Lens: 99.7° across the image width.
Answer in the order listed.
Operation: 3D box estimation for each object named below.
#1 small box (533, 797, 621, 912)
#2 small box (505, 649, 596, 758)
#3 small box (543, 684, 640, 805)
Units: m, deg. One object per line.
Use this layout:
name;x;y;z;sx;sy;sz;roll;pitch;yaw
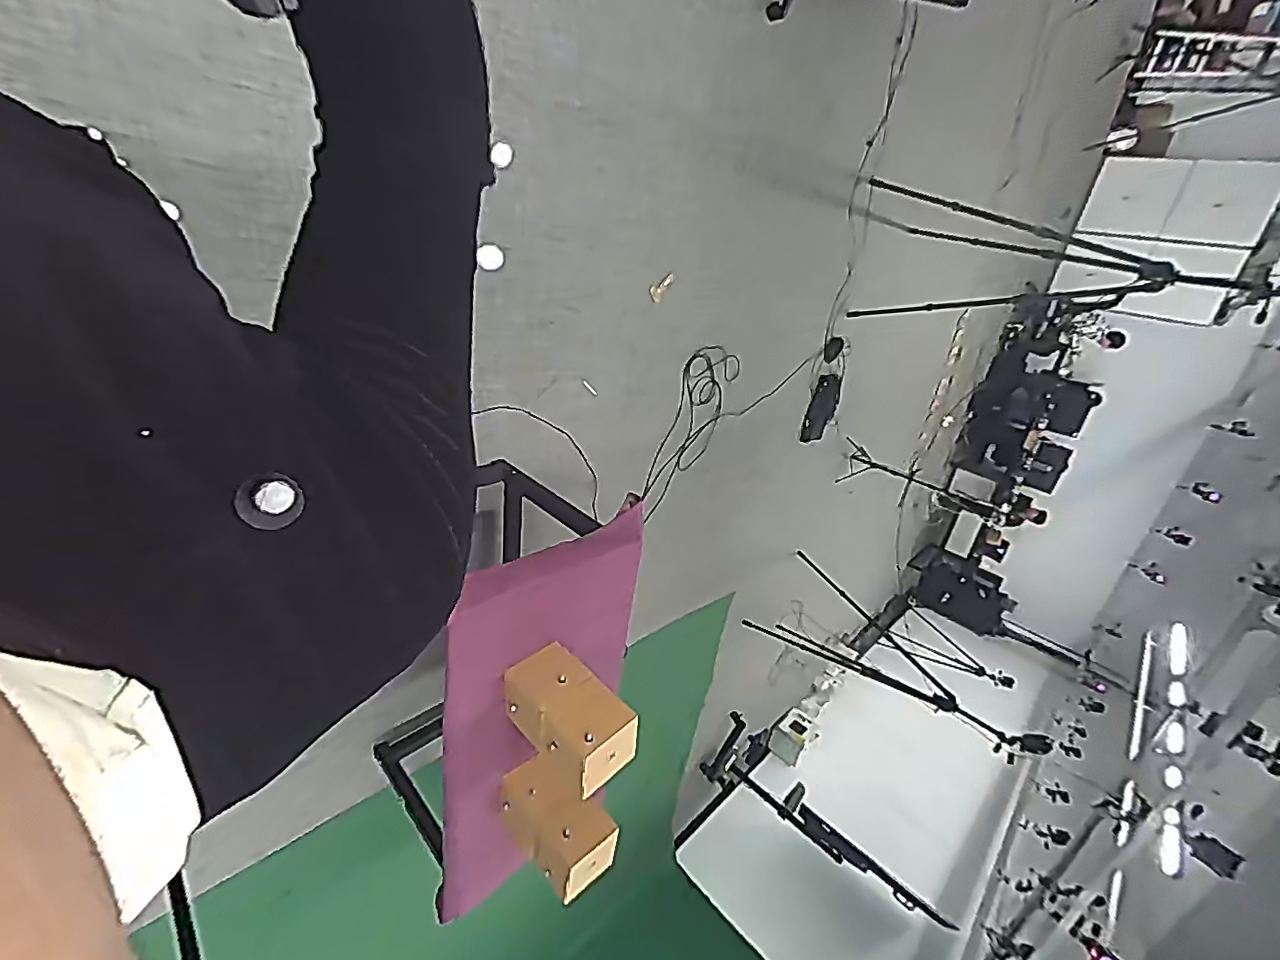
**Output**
small box;-0.182;1.037;1.520;0.179;0.176;0.168;-13;122;-44
small box;-0.240;0.587;1.446;0.179;0.176;0.168;-21;126;-41
small box;-0.124;0.650;1.351;0.179;0.176;0.168;-23;129;-39
